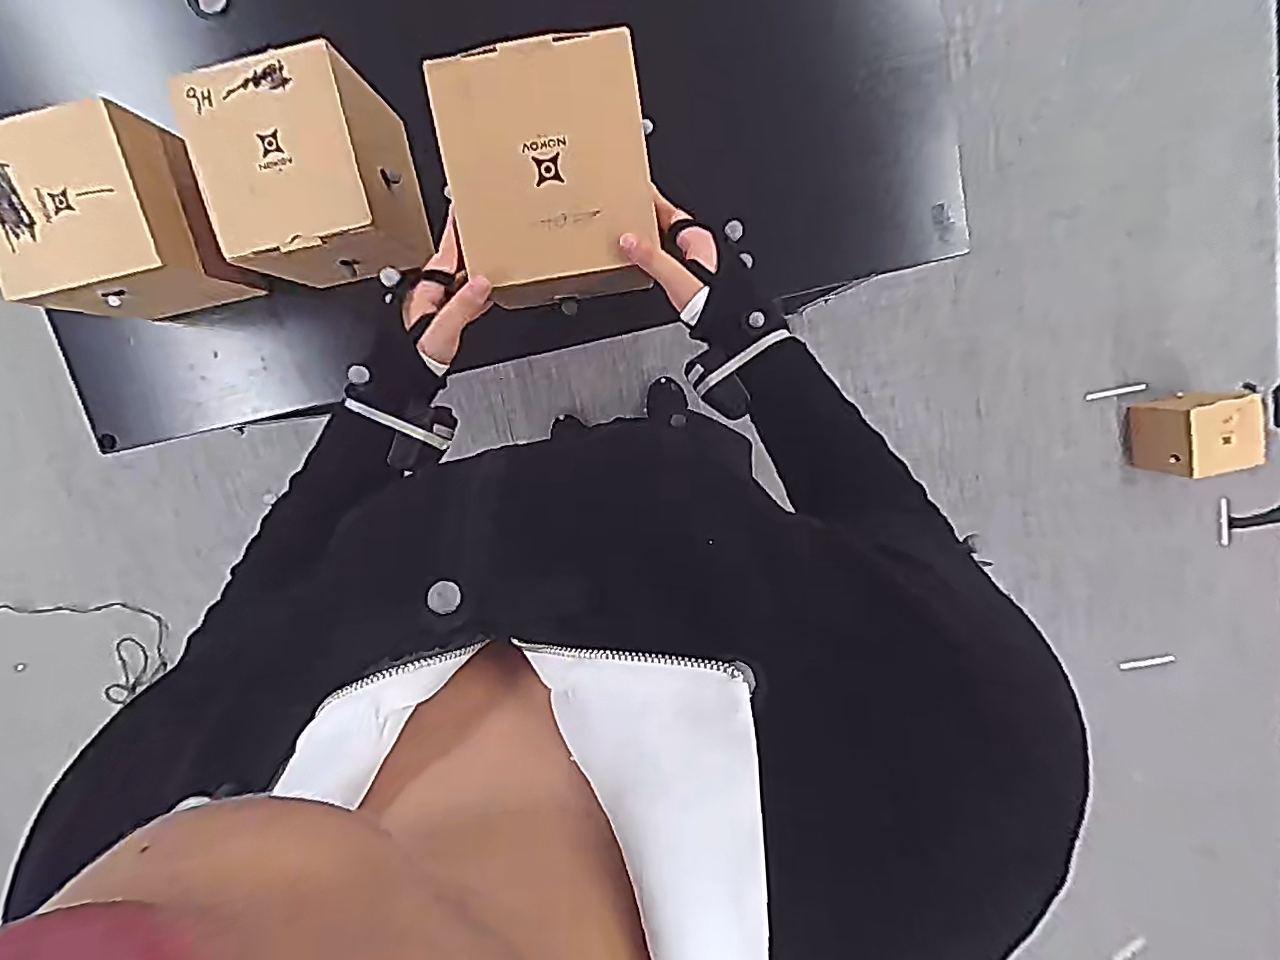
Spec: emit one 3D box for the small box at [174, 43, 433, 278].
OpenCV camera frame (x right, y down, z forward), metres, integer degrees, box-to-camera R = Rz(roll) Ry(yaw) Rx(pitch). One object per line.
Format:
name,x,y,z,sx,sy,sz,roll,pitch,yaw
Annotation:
small box,-0.361,-0.341,0.620,0.168,0.176,0.179,-11,101,3

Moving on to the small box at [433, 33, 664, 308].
small box,-0.074,-0.274,0.521,0.168,0.176,0.179,-9,103,1

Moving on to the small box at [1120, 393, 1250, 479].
small box,1.377,-0.117,1.375,0.168,0.176,0.179,-13,100,3

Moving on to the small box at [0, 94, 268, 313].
small box,-0.590,-0.301,0.629,0.179,0.176,0.168,-12,100,2
